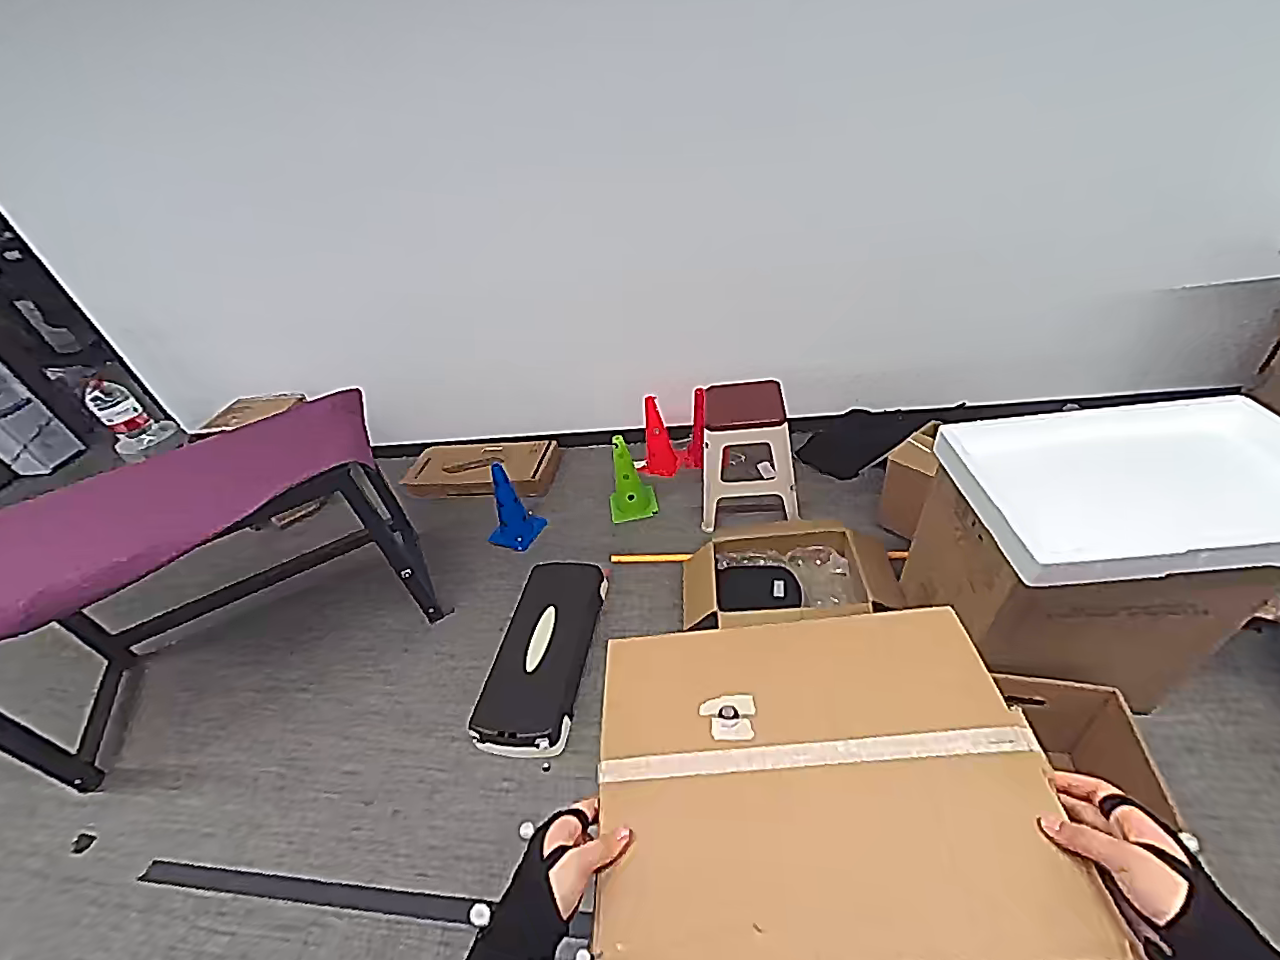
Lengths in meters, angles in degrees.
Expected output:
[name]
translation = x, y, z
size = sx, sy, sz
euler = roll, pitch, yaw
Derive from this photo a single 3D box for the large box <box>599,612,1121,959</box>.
[large box]
translation = 0.190, 0.393, 0.622
size = 0.408, 0.320, 0.320
euler = -9, 37, 7
